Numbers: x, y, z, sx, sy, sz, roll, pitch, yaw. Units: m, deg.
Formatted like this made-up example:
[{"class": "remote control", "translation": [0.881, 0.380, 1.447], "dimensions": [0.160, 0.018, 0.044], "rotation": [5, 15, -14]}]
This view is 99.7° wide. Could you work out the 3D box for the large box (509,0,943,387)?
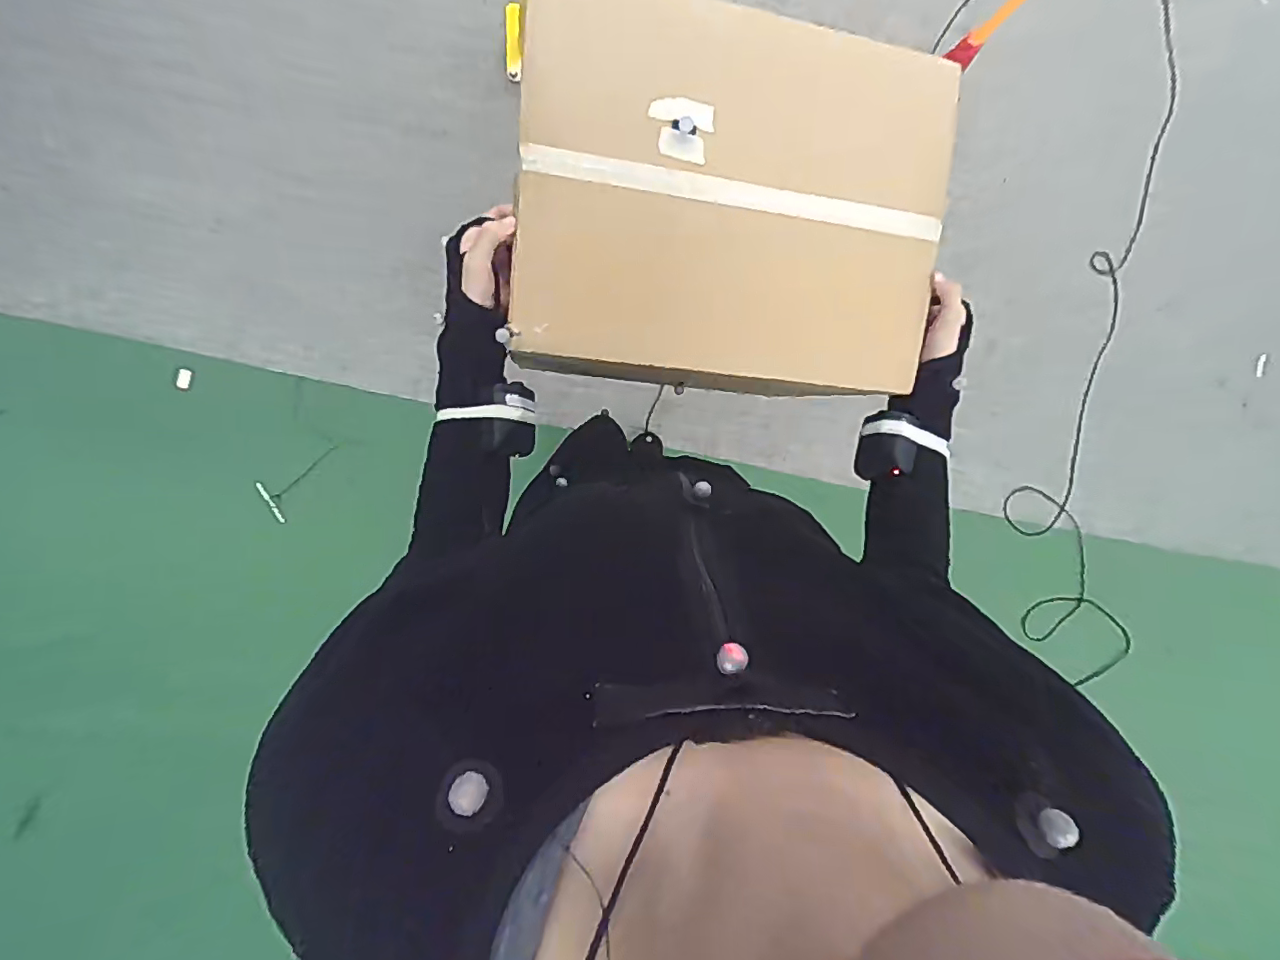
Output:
[{"class": "large box", "translation": [0.062, -0.282, 0.650], "dimensions": [0.408, 0.320, 0.320], "rotation": [4, 97, -11]}]
